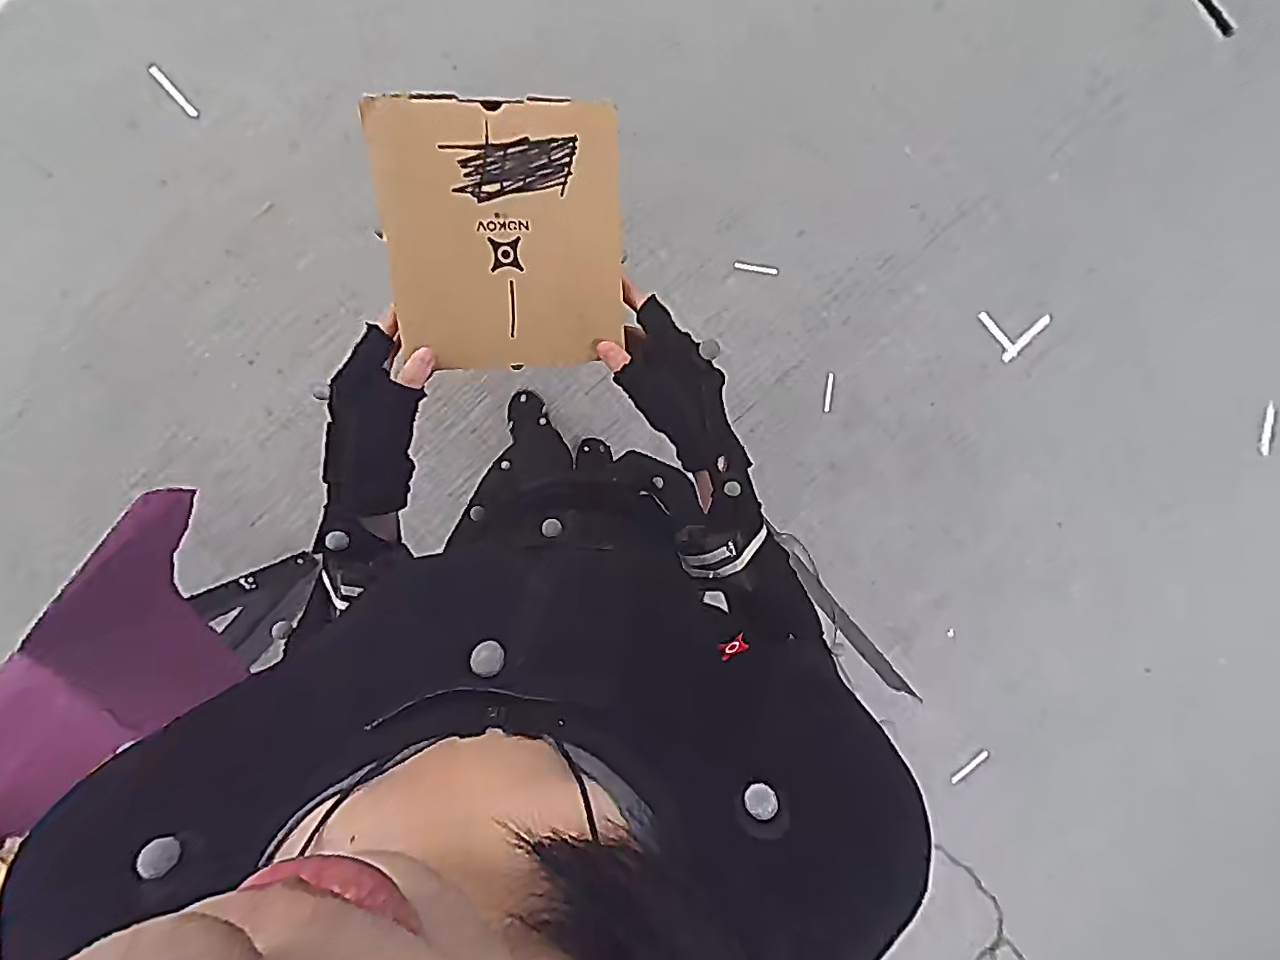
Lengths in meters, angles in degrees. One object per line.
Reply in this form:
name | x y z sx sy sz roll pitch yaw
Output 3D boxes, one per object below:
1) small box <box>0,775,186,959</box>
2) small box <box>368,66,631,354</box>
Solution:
small box | -0.755 0.535 0.705 0.179 0.176 0.168 -40 96 1
small box | -0.102 -0.201 0.445 0.168 0.176 0.179 -4 110 -9
